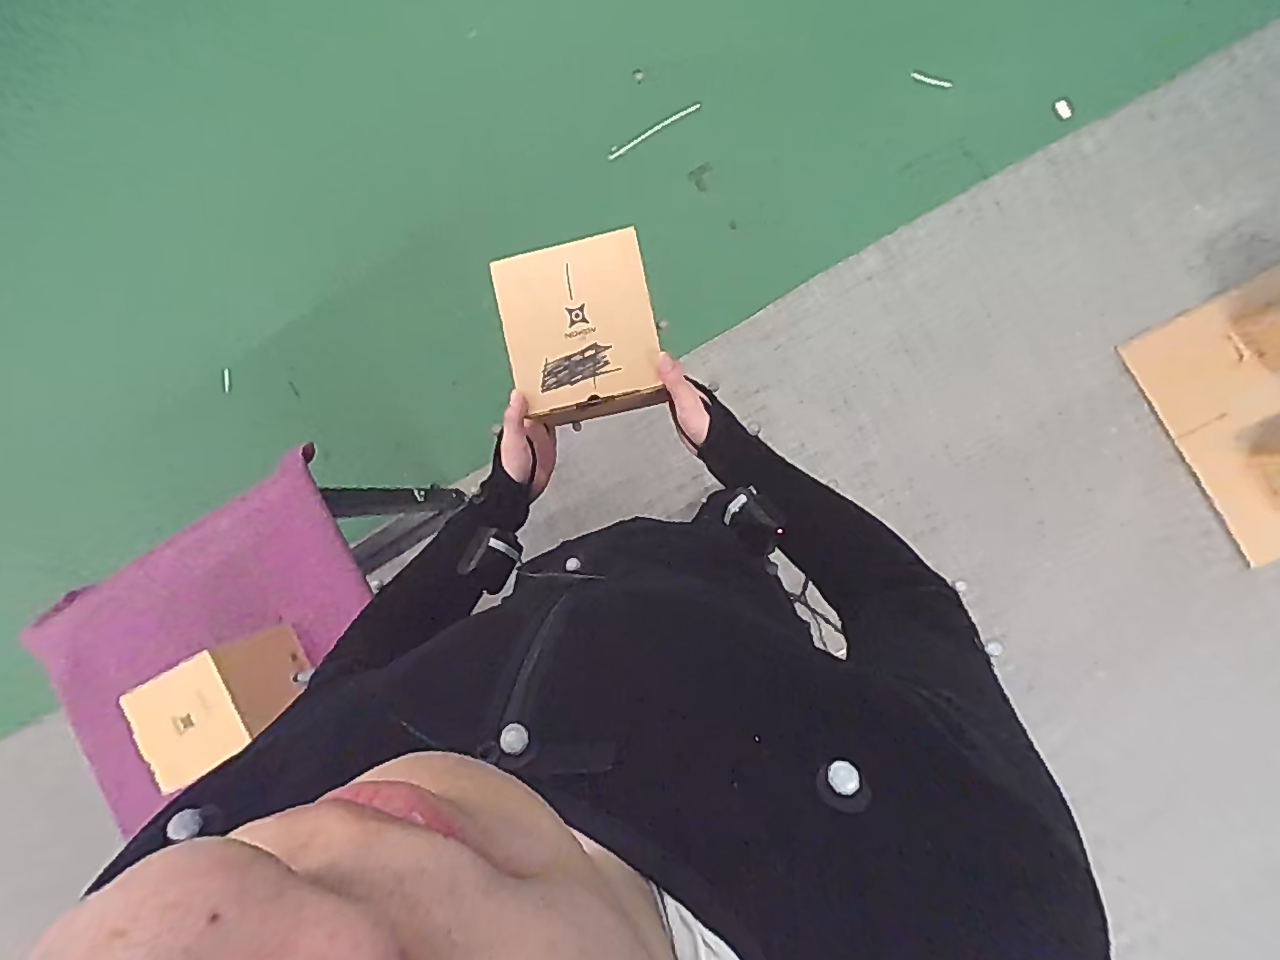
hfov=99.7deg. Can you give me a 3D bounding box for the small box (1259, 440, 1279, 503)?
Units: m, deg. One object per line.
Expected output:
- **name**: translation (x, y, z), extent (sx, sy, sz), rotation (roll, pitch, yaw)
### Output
- **small box**: translation (1.725, -0.036, 1.345), extent (0.179, 0.176, 0.168), rotation (-25, 86, 4)

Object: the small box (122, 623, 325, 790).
- **small box**: translation (-0.674, 0.362, 0.894), extent (0.179, 0.176, 0.168), rotation (-28, 88, 6)

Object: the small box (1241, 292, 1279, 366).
- **small box**: translation (1.706, -0.413, 1.356), extent (0.179, 0.176, 0.168), rotation (-35, 86, 4)

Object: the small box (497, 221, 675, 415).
- **small box**: translation (-0.053, -0.178, 0.656), extent (0.168, 0.176, 0.179), rotation (-11, 91, 5)
